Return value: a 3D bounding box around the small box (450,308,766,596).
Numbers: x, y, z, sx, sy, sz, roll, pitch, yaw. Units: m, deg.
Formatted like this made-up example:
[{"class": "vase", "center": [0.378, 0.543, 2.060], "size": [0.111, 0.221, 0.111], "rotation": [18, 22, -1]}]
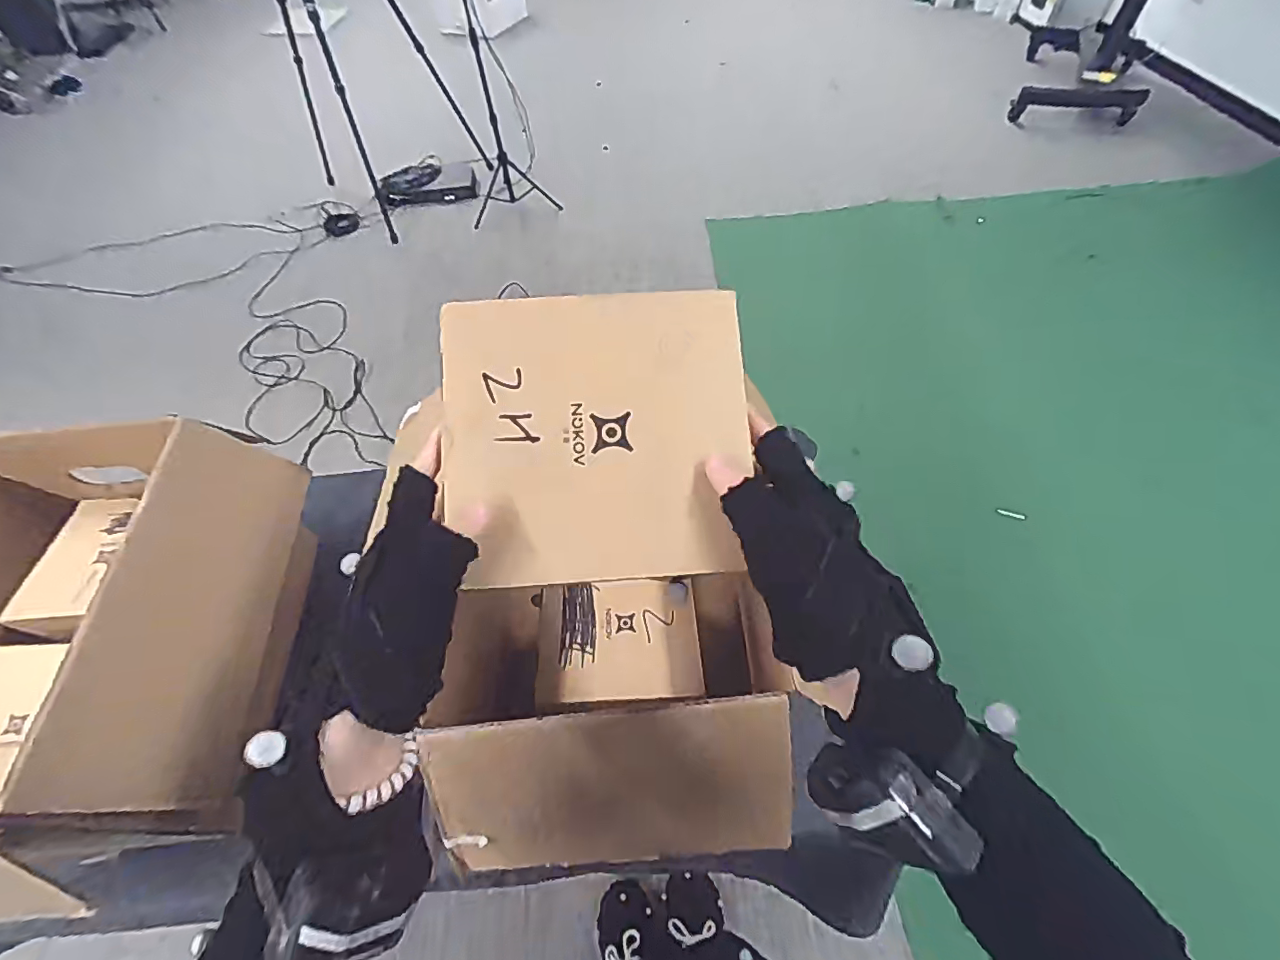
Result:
[{"class": "small box", "center": [-0.023, -0.007, 0.387], "size": [0.179, 0.176, 0.168], "rotation": [-3, 79, -2]}]
